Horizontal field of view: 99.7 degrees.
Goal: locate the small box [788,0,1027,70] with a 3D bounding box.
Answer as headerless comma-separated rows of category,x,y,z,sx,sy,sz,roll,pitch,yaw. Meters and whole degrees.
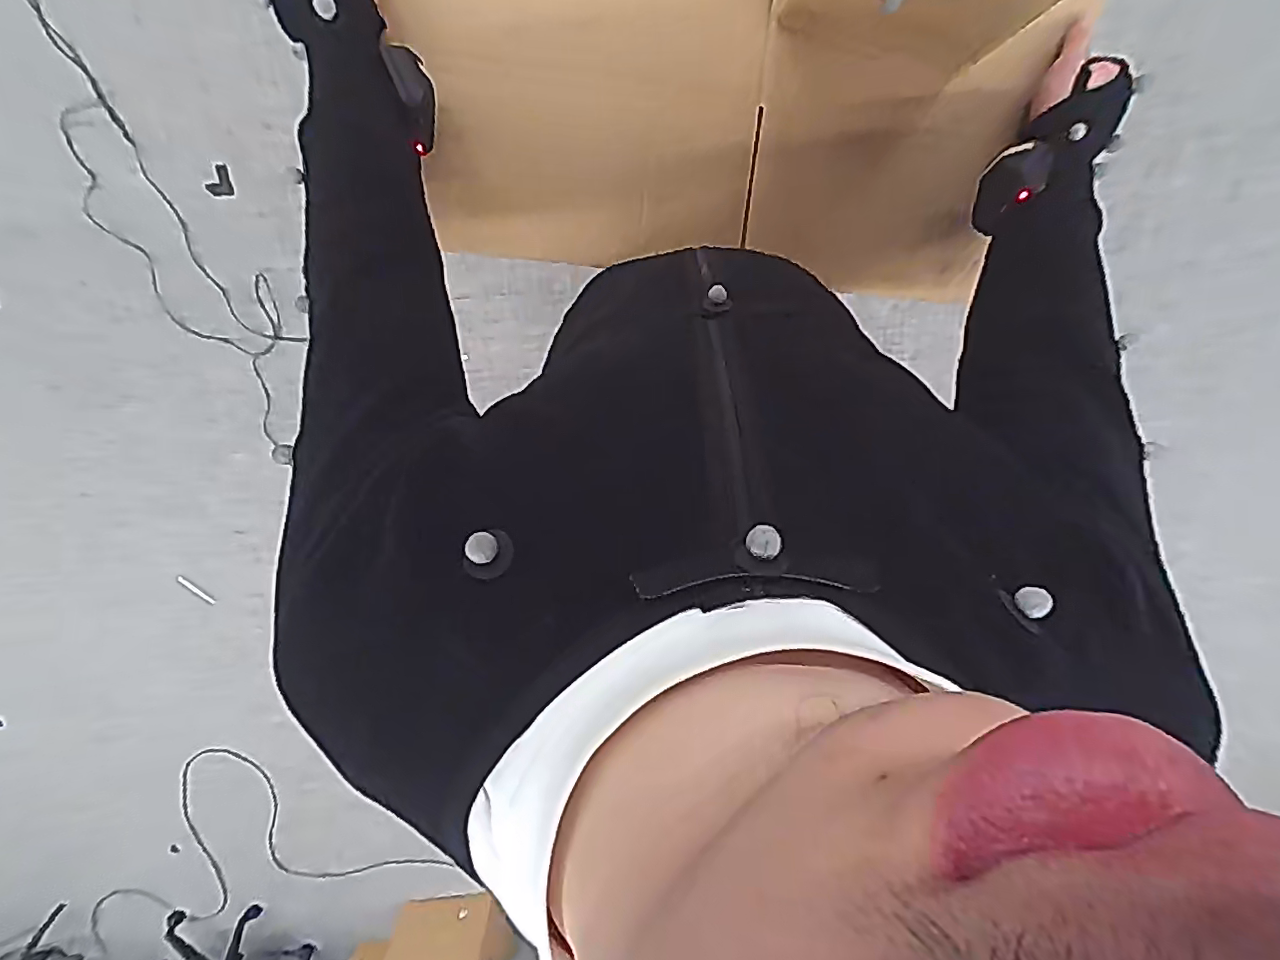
small box,0.232,-0.454,0.408,0.179,0.176,0.168,15,107,-3
